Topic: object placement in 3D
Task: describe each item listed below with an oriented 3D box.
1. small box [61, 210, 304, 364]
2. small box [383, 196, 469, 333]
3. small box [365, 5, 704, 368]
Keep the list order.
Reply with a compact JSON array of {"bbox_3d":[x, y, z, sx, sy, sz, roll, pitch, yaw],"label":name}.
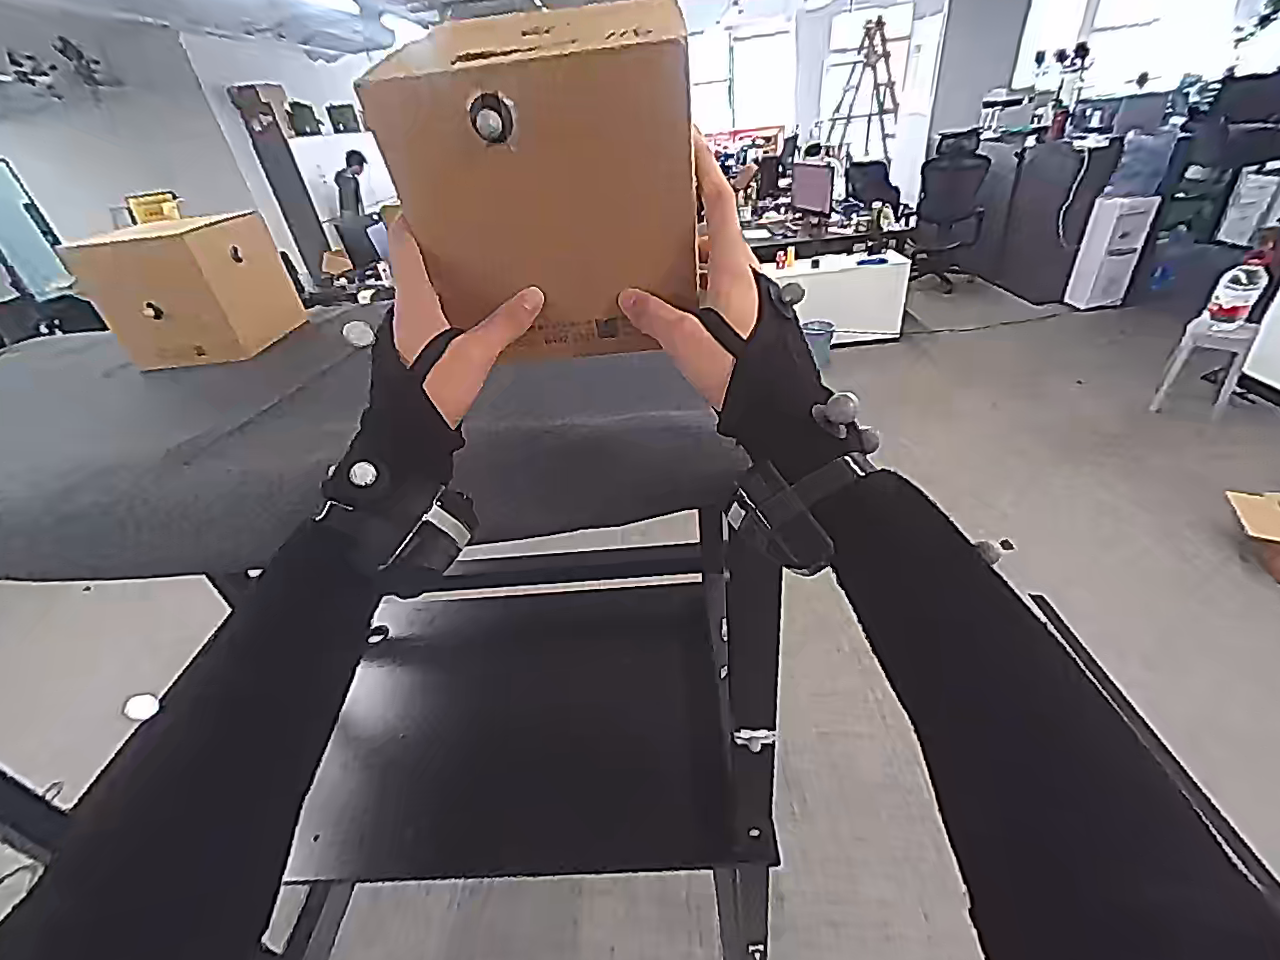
[{"bbox_3d":[-0.628,-0.272,0.775,0.168,0.176,0.179,-5,35,3],"label":"small box"},{"bbox_3d":[-0.217,-0.311,0.758,0.168,0.176,0.179,-1,34,8],"label":"small box"},{"bbox_3d":[-0.044,-0.197,0.369,0.168,0.176,0.179,-4,46,5],"label":"small box"}]
